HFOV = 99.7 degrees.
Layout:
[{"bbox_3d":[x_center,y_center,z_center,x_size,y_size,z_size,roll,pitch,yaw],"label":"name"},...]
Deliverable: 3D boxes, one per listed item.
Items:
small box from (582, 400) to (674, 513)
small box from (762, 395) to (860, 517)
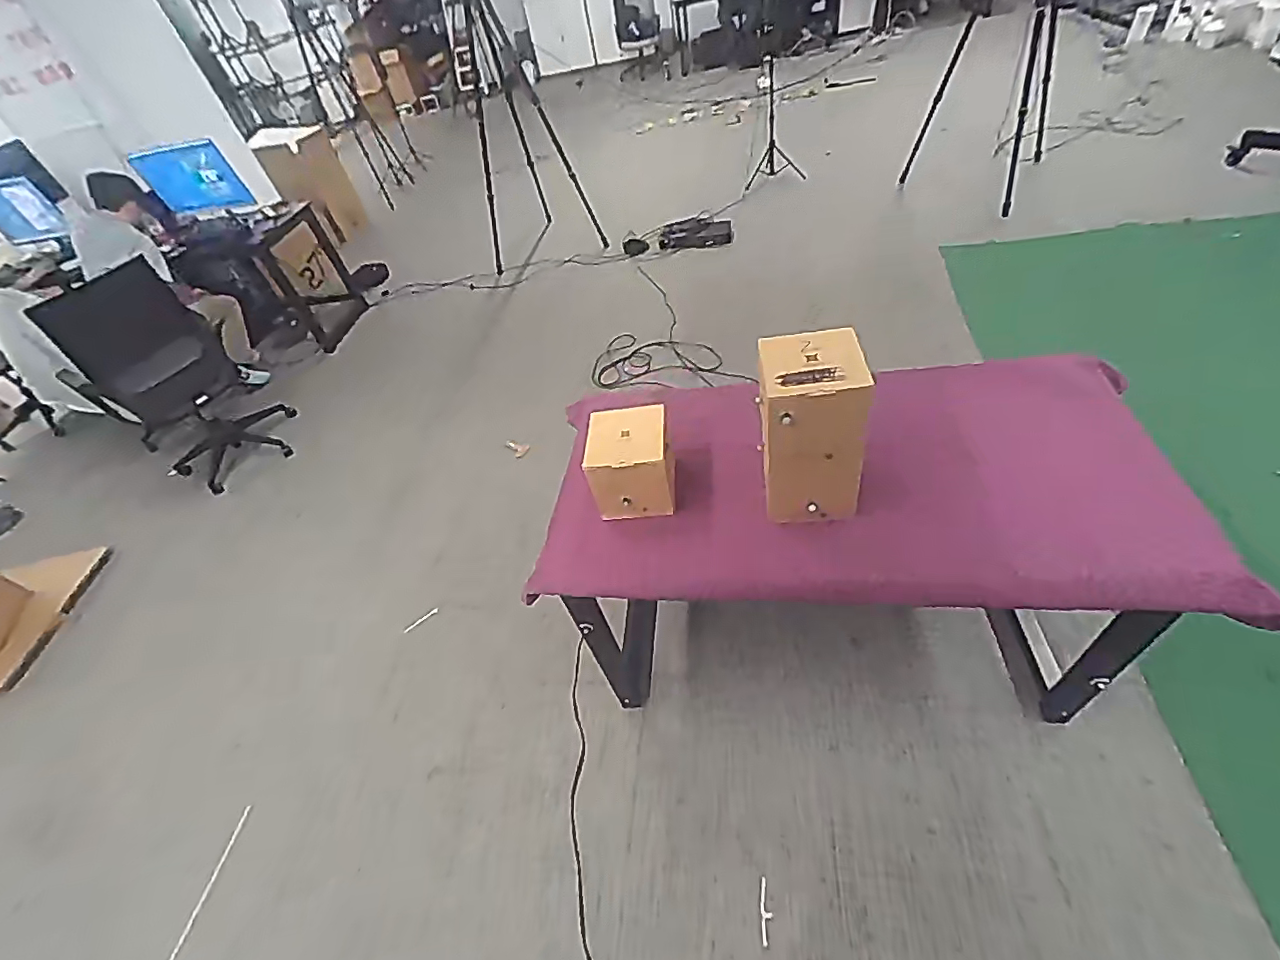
[{"bbox_3d":[-0.019,-0.049,1.179,0.168,0.176,0.179,-6,48,9],"label":"small box"},{"bbox_3d":[0.332,-0.046,1.083,0.168,0.176,0.179,-4,47,12],"label":"small box"}]
